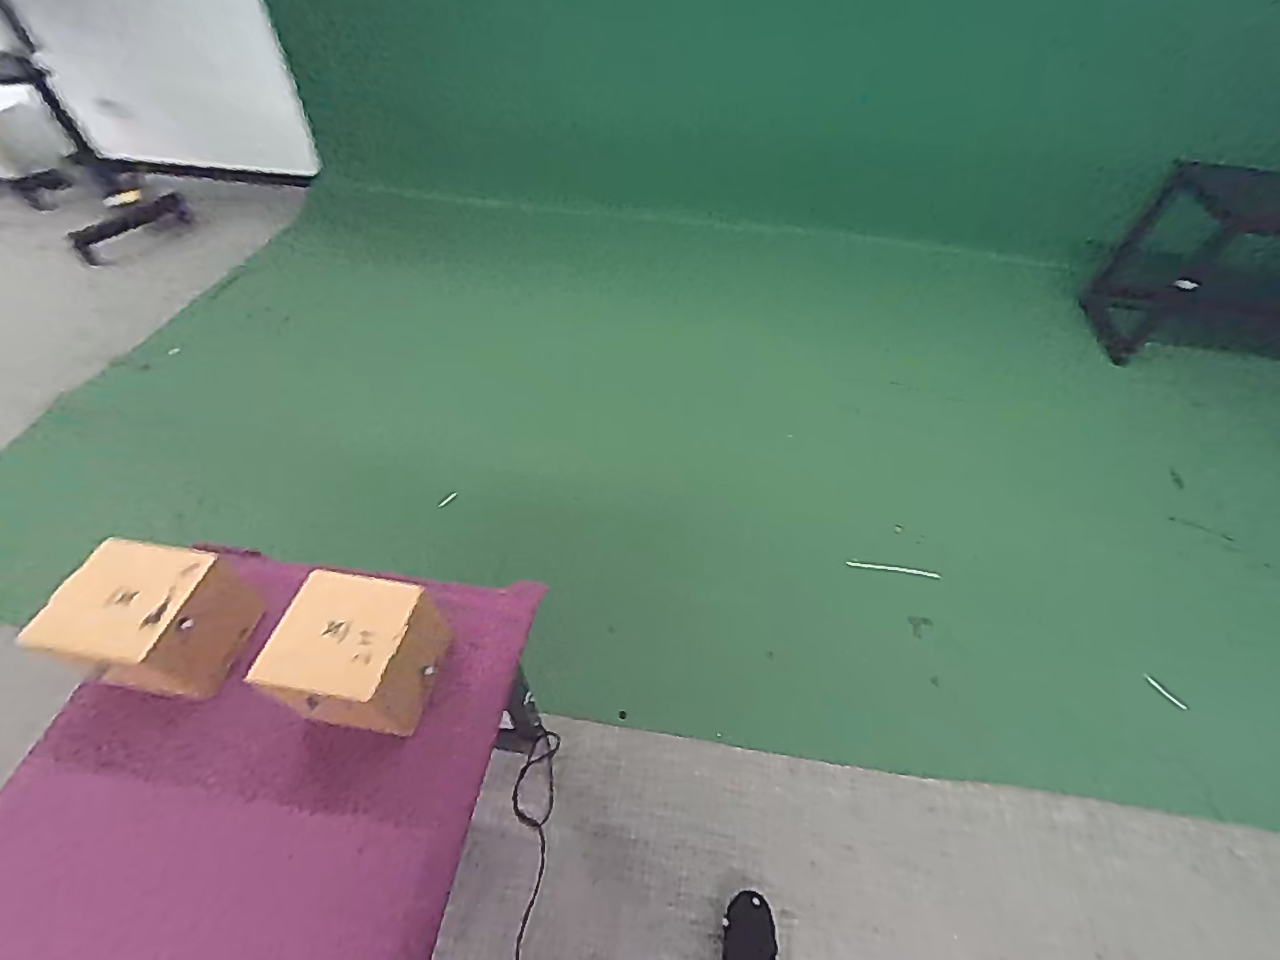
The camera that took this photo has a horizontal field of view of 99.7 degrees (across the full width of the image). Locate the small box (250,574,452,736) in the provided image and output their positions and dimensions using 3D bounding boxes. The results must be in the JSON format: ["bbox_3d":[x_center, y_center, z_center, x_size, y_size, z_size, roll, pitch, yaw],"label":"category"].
[{"bbox_3d":[-0.408,0.262,0.801,0.179,0.176,0.168,8,51,6],"label":"small box"}]

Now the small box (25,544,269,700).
[{"bbox_3d":[-0.726,0.220,0.823,0.179,0.176,0.168,8,52,3],"label":"small box"}]
